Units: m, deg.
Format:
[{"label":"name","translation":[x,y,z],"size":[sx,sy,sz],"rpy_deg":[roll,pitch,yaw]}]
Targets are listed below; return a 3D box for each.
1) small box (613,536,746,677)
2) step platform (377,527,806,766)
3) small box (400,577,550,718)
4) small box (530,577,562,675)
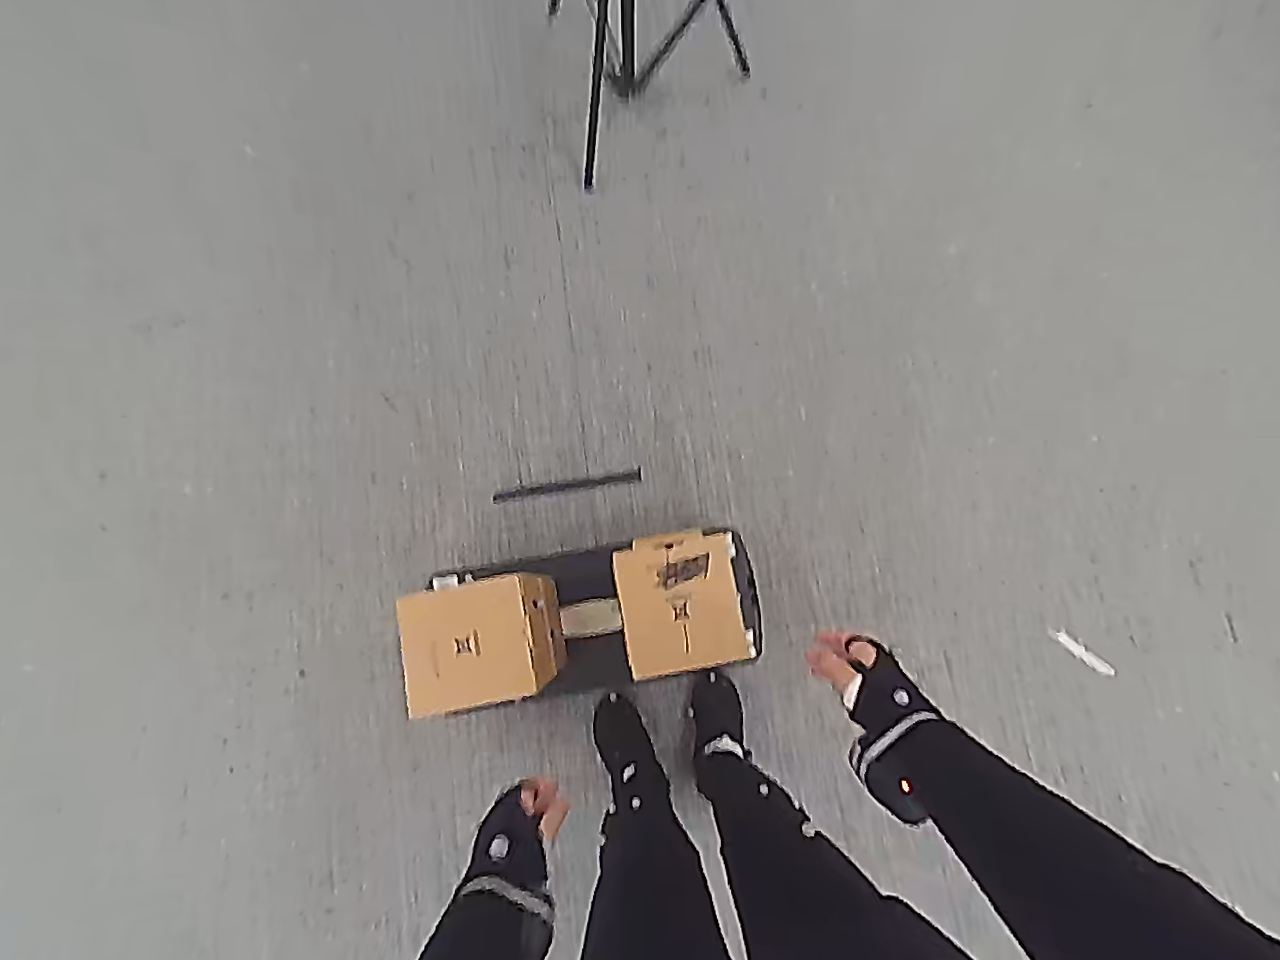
[{"label":"small box","translation":[0.053,0.193,0.843],"size":[0.168,0.176,0.179],"rpy_deg":[-10,79,-2]},{"label":"step platform","translation":[-0.079,0.280,0.956],"size":[0.684,0.204,0.286],"rpy_deg":[-9,78,-3]},{"label":"small box","translation":[-0.241,0.246,0.831],"size":[0.179,0.176,0.168],"rpy_deg":[-12,78,-3]},{"label":"small box","translation":[-0.243,0.278,0.993],"size":[0.179,0.176,0.168],"rpy_deg":[-11,79,-4]}]
